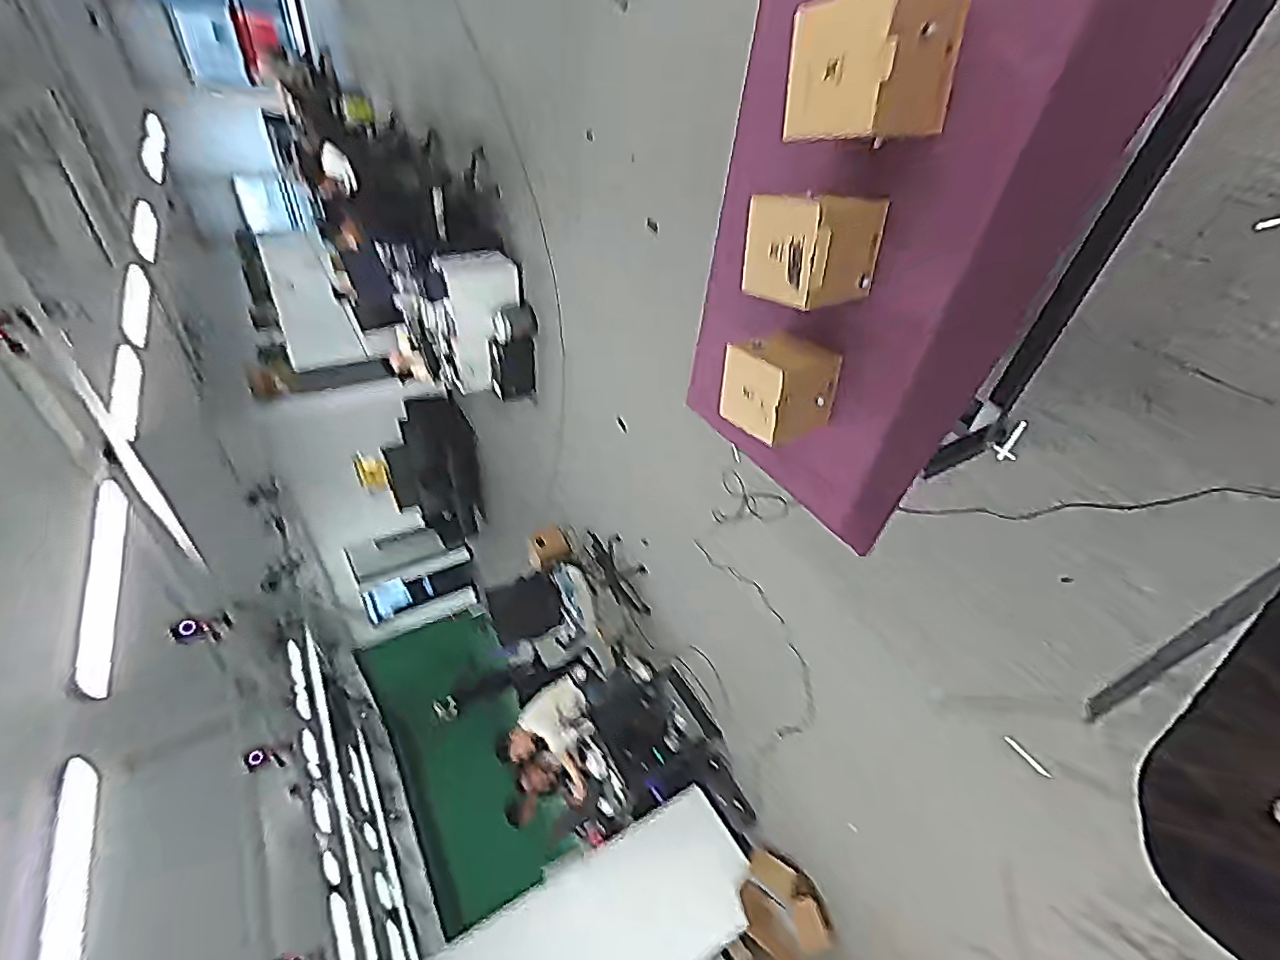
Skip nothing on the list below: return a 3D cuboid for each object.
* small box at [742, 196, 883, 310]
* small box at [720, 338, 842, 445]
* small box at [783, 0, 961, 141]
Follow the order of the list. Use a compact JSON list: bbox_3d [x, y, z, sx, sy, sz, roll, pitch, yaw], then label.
[{"bbox_3d":[0.316,-0.428,1.004,0.179,0.176,0.168,41,140,46],"label":"small box"},{"bbox_3d":[0.300,-0.201,1.172,0.179,0.176,0.168,42,141,44],"label":"small box"},{"bbox_3d":[0.349,-0.619,0.828,0.179,0.176,0.168,39,138,48],"label":"small box"}]
